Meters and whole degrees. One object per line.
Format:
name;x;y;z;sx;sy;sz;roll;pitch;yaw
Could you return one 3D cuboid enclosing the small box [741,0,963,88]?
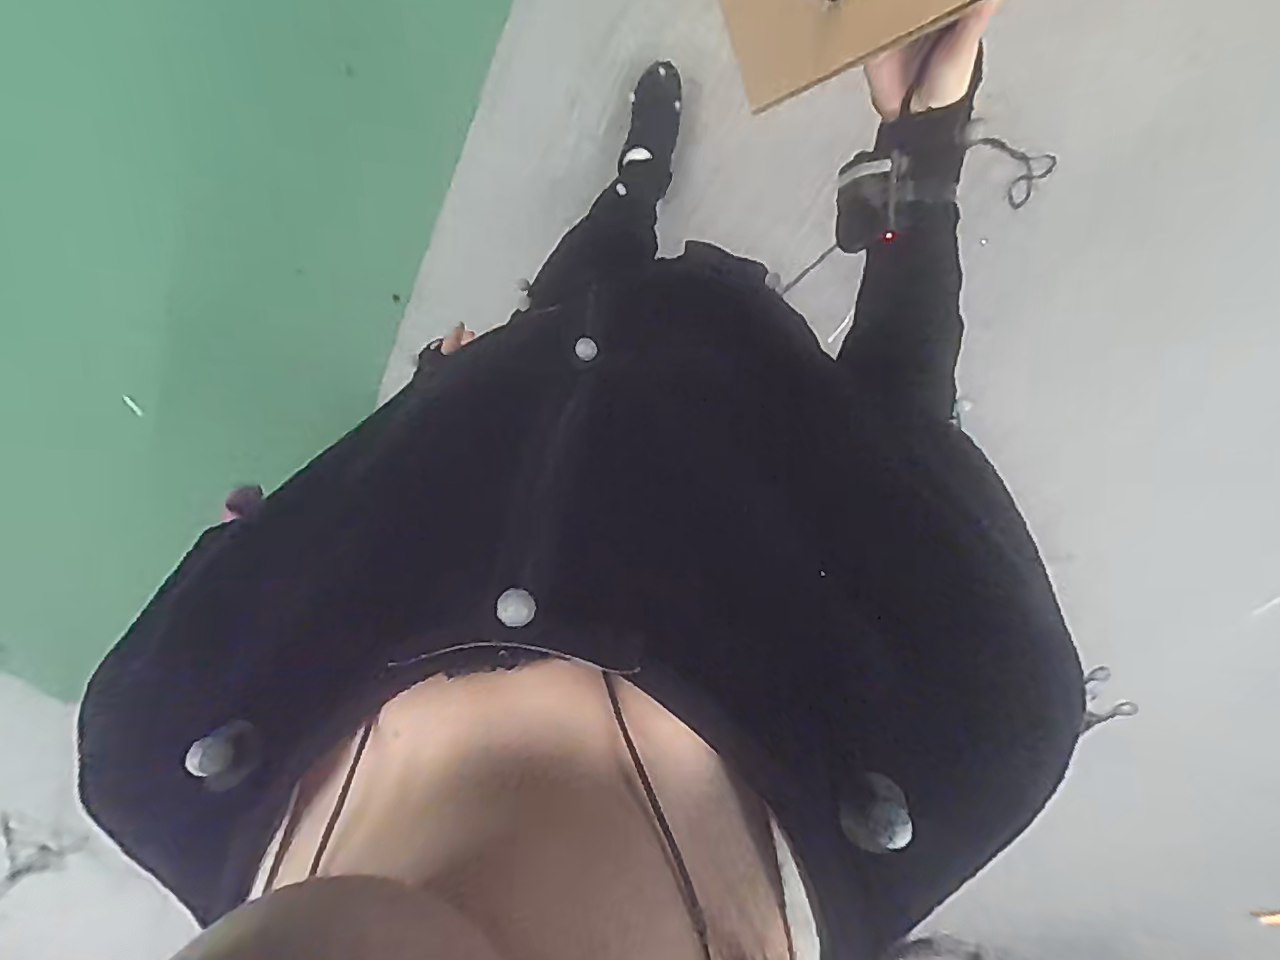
small box;0.141;-0.317;0.234;0.168;0.179;0.176;-31;117;-9
